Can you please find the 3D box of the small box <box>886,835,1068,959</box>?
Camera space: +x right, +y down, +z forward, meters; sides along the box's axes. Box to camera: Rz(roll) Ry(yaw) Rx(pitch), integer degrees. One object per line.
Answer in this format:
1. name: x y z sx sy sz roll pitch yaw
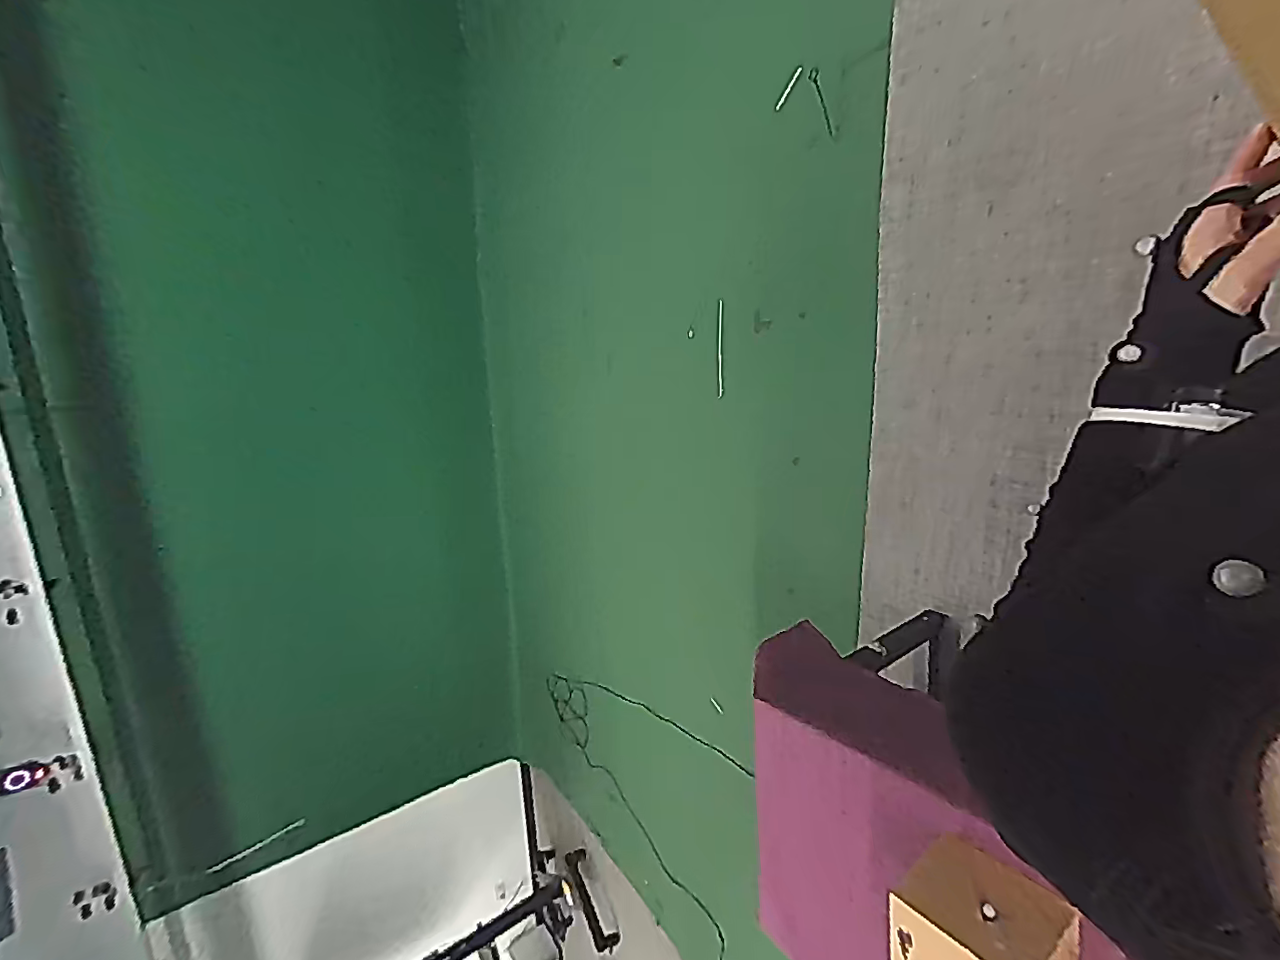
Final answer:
1. small box: 0.474 0.655 0.764 0.179 0.176 0.168 8 105 53
